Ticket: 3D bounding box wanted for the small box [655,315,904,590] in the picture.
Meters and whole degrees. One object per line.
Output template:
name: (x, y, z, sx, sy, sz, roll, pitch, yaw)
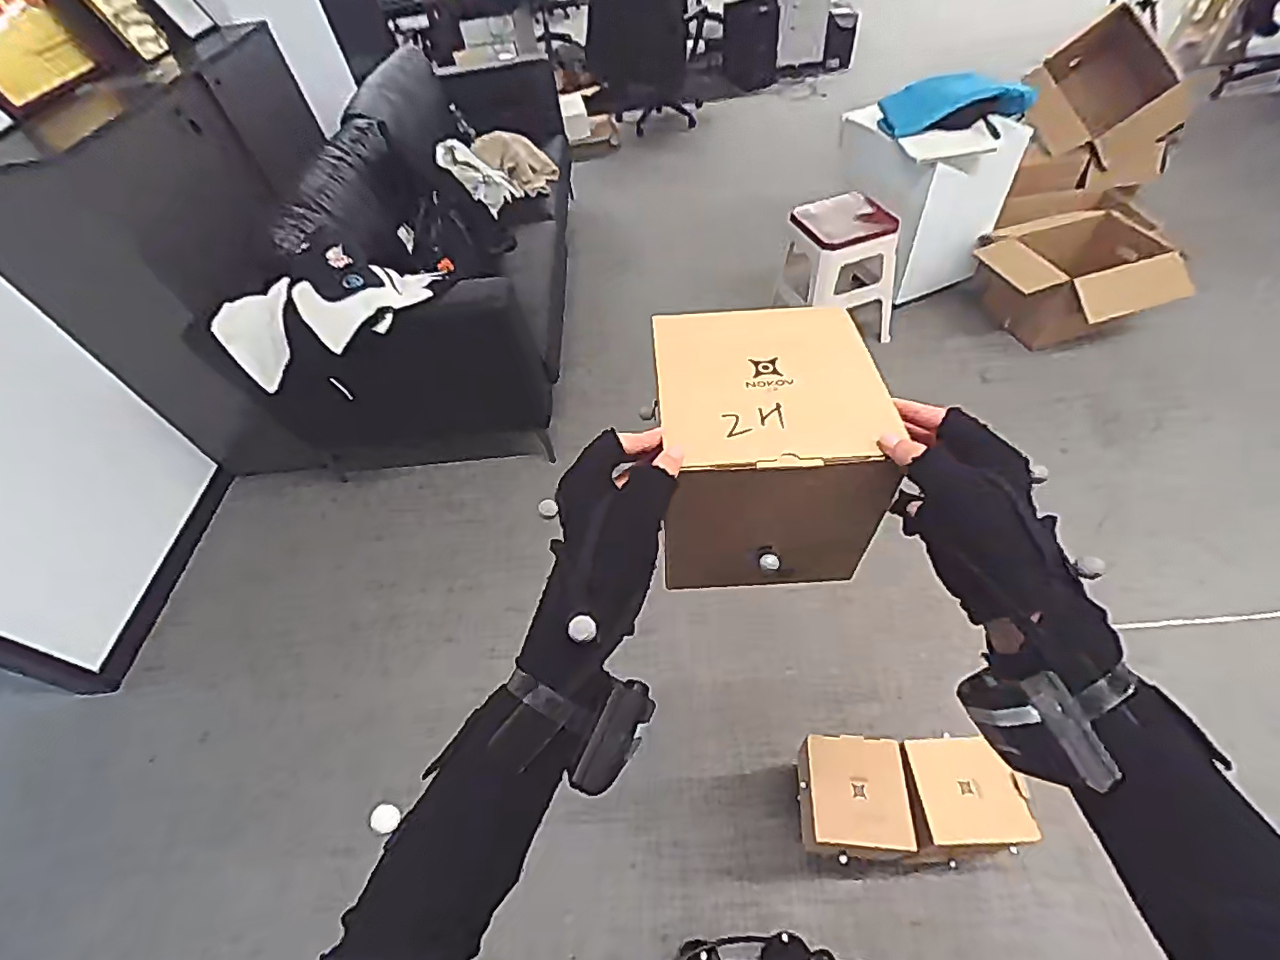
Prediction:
small box: (0.097, -0.022, 0.473, 0.168, 0.176, 0.179, -3, 50, 2)
